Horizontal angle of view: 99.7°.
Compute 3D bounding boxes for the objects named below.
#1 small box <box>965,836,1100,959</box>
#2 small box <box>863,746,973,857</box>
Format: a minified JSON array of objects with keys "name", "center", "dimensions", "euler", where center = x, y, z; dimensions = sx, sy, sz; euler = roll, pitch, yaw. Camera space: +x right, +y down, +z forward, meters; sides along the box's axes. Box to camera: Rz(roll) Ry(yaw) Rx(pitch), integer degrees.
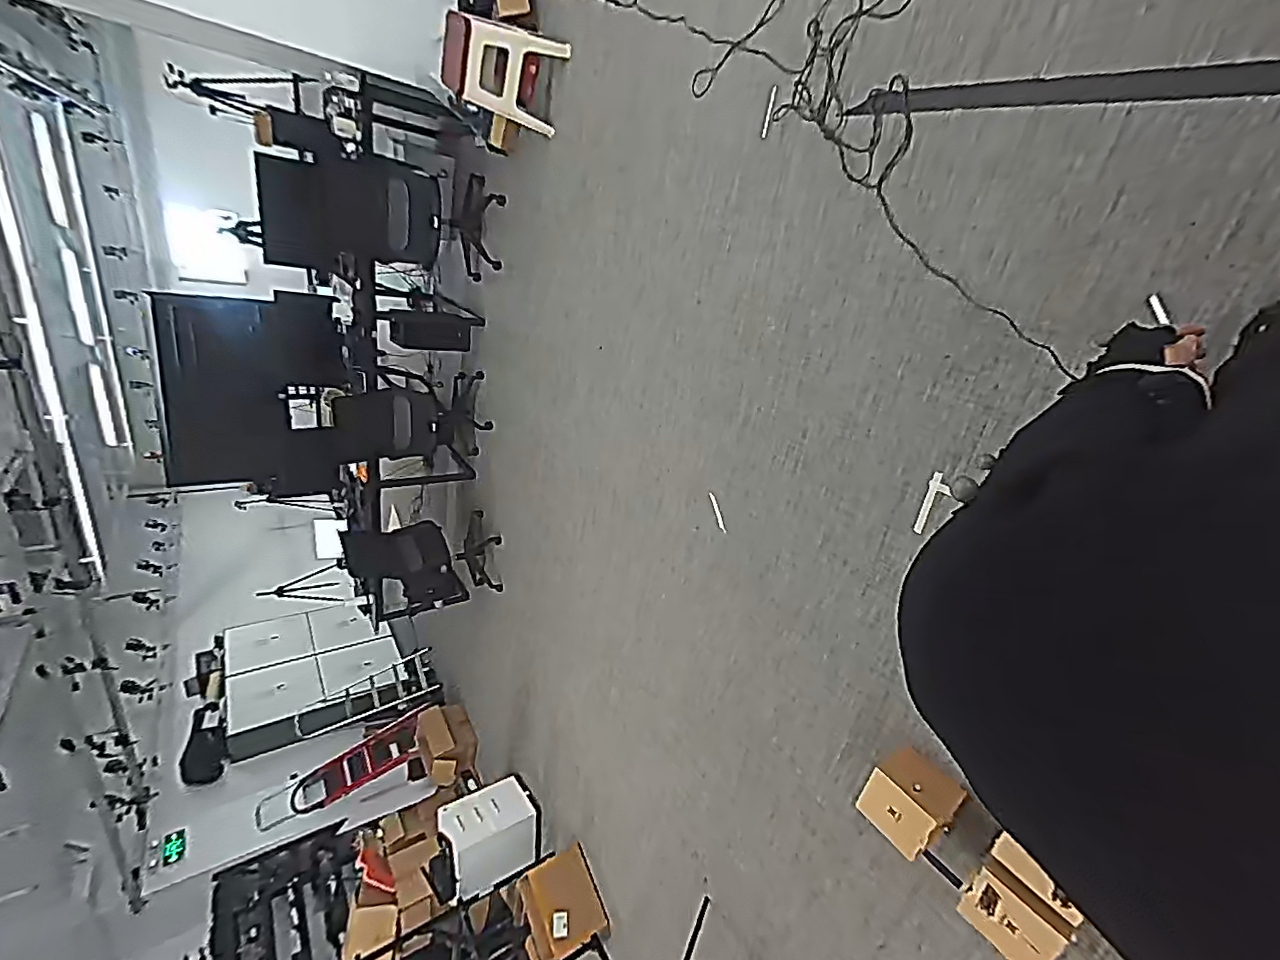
[{"name":"small box","center":[0.906,0.969,1.252],"dimensions":[0.179,0.176,0.168],"euler":[36,124,45]},{"name":"small box","center":[0.746,0.849,1.454],"dimensions":[0.179,0.176,0.168],"euler":[38,125,44]}]
